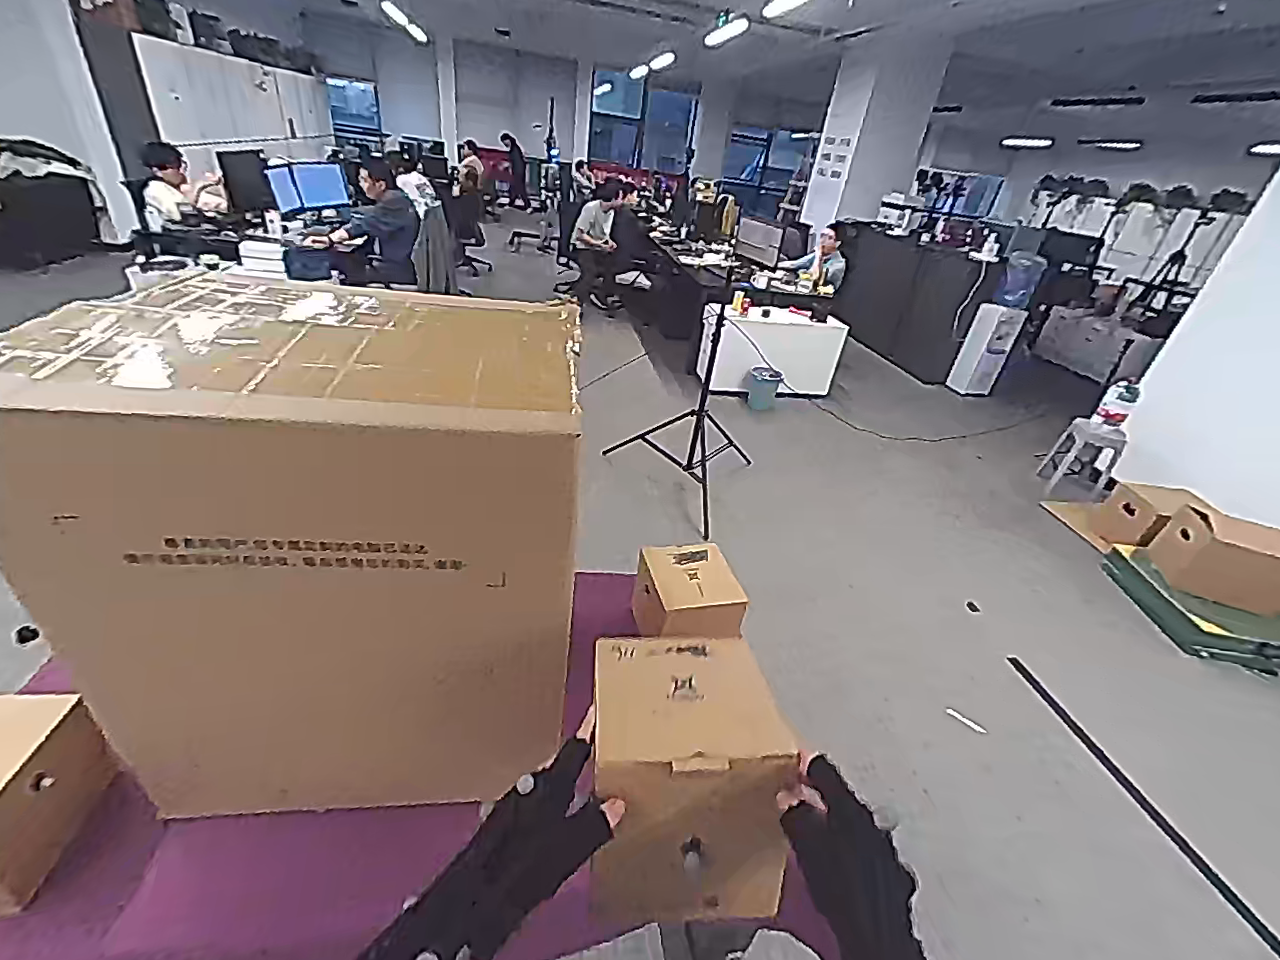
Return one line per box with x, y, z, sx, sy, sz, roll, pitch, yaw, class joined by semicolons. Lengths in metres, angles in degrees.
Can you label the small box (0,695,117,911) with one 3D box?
-0.789;0.385;0.646;0.168;0.176;0.179;5;29;-12;small box
